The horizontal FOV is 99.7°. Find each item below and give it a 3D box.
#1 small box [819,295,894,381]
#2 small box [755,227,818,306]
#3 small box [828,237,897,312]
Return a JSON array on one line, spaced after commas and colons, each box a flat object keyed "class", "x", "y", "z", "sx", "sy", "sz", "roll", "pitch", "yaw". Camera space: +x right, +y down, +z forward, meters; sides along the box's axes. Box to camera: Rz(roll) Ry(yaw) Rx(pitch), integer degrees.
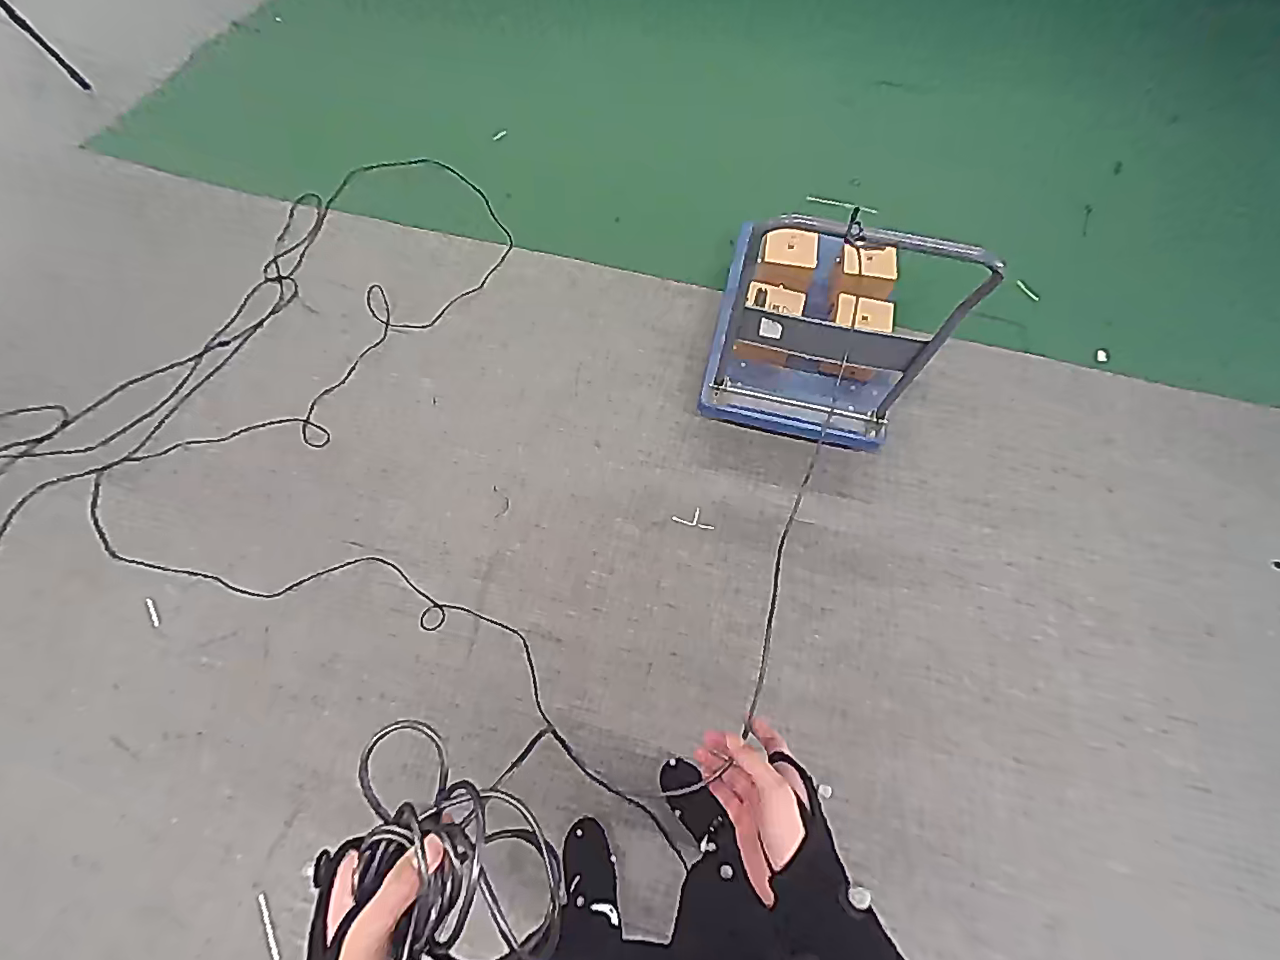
[{"class": "small box", "x": 0.669, "y": -0.439, "z": 1.680, "sx": 0.168, "sy": 0.176, "sz": 0.179, "roll": 14, "pitch": 65, "yaw": 6}, {"class": "small box", "x": 0.487, "y": -0.712, "z": 1.816, "sx": 0.168, "sy": 0.176, "sz": 0.179, "roll": 10, "pitch": 64, "yaw": 4}, {"class": "small box", "x": 0.735, "y": -0.673, "z": 1.798, "sx": 0.168, "sy": 0.176, "sz": 0.179, "roll": 9, "pitch": 65, "yaw": 5}]
